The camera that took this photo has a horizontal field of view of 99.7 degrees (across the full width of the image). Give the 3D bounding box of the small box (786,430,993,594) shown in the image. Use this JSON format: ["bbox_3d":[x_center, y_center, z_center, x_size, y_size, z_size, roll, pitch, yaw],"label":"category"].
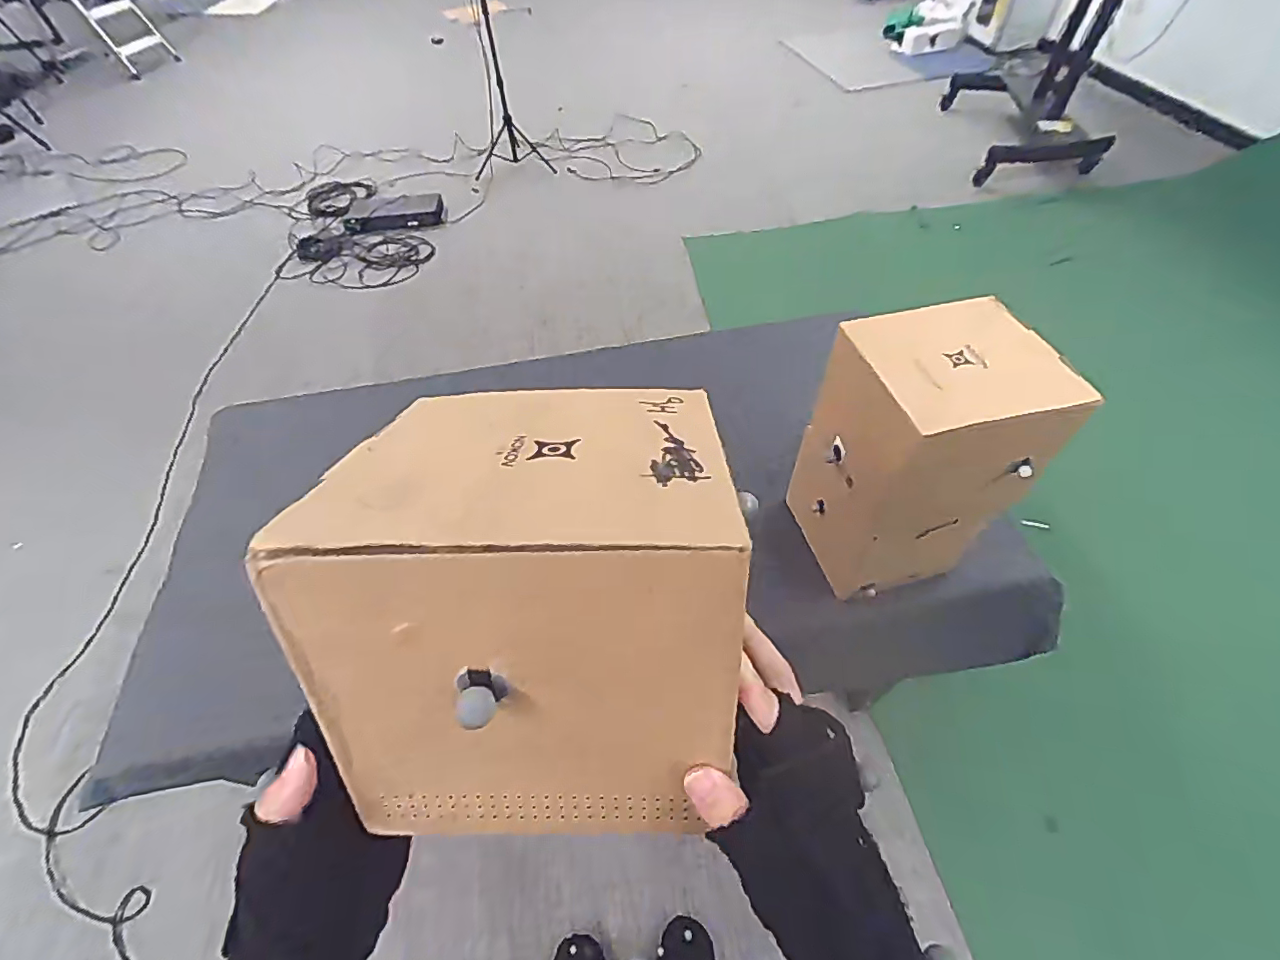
[{"bbox_3d":[0.313,0.035,0.722,0.168,0.176,0.179,-13,52,-7],"label":"small box"}]

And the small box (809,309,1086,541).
[{"bbox_3d":[0.307,-0.056,0.589,0.179,0.176,0.168,-12,51,-5],"label":"small box"}]

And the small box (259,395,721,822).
[{"bbox_3d":[-0.050,0.062,0.301,0.179,0.176,0.168,-2,28,2],"label":"small box"}]
